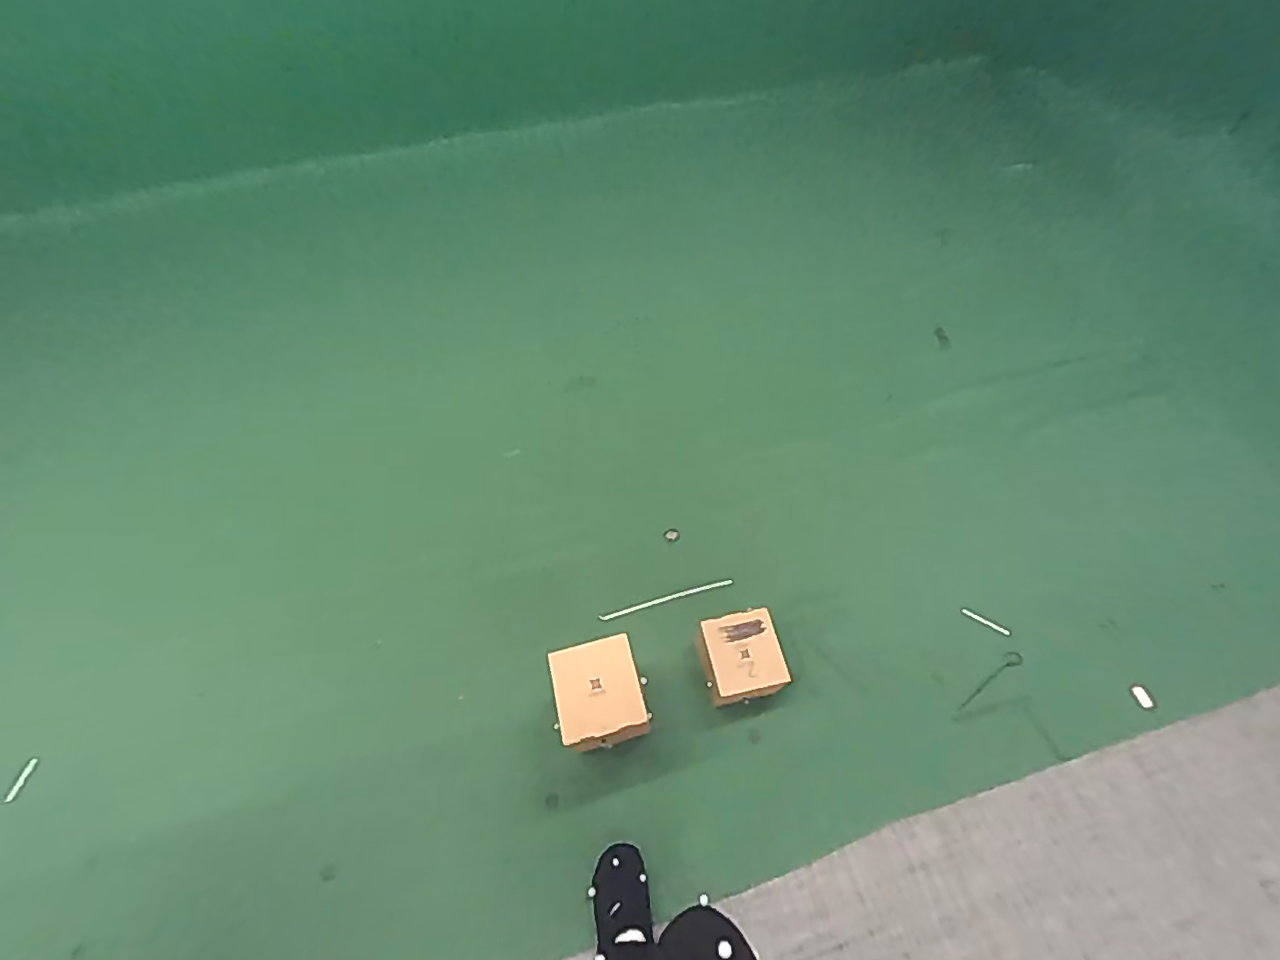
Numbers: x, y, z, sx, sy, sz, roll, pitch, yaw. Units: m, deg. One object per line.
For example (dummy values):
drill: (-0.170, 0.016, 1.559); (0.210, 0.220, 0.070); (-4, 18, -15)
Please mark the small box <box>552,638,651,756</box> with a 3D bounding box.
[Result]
small box: (-0.077, 0.453, 1.121); (0.168, 0.176, 0.179); (-14, 60, -6)
